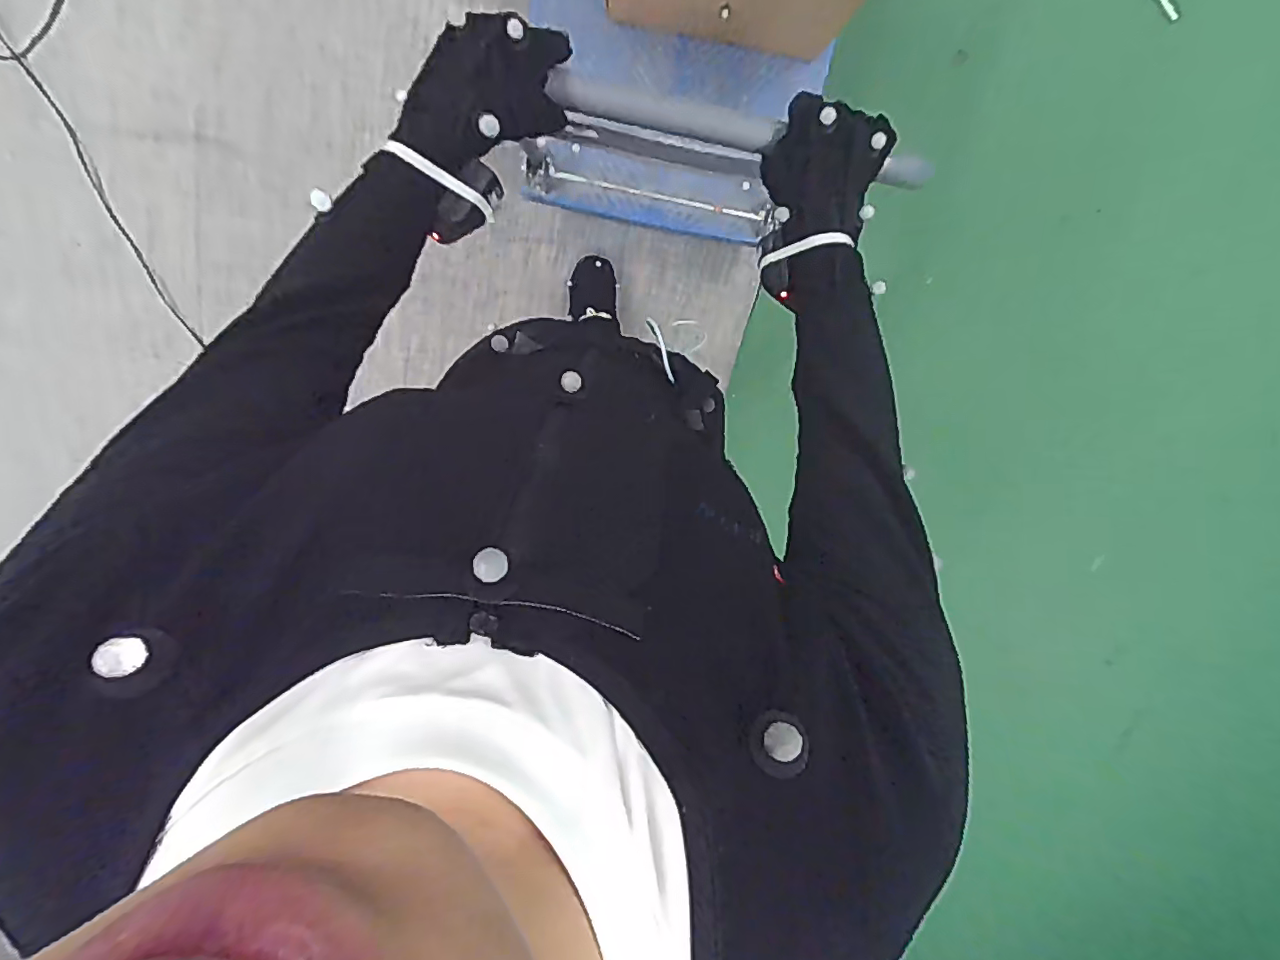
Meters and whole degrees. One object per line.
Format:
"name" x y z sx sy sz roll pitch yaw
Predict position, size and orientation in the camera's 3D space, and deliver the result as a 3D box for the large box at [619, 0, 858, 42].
"large box" 0.176 -0.942 0.835 0.408 0.320 0.320 7 110 -3
